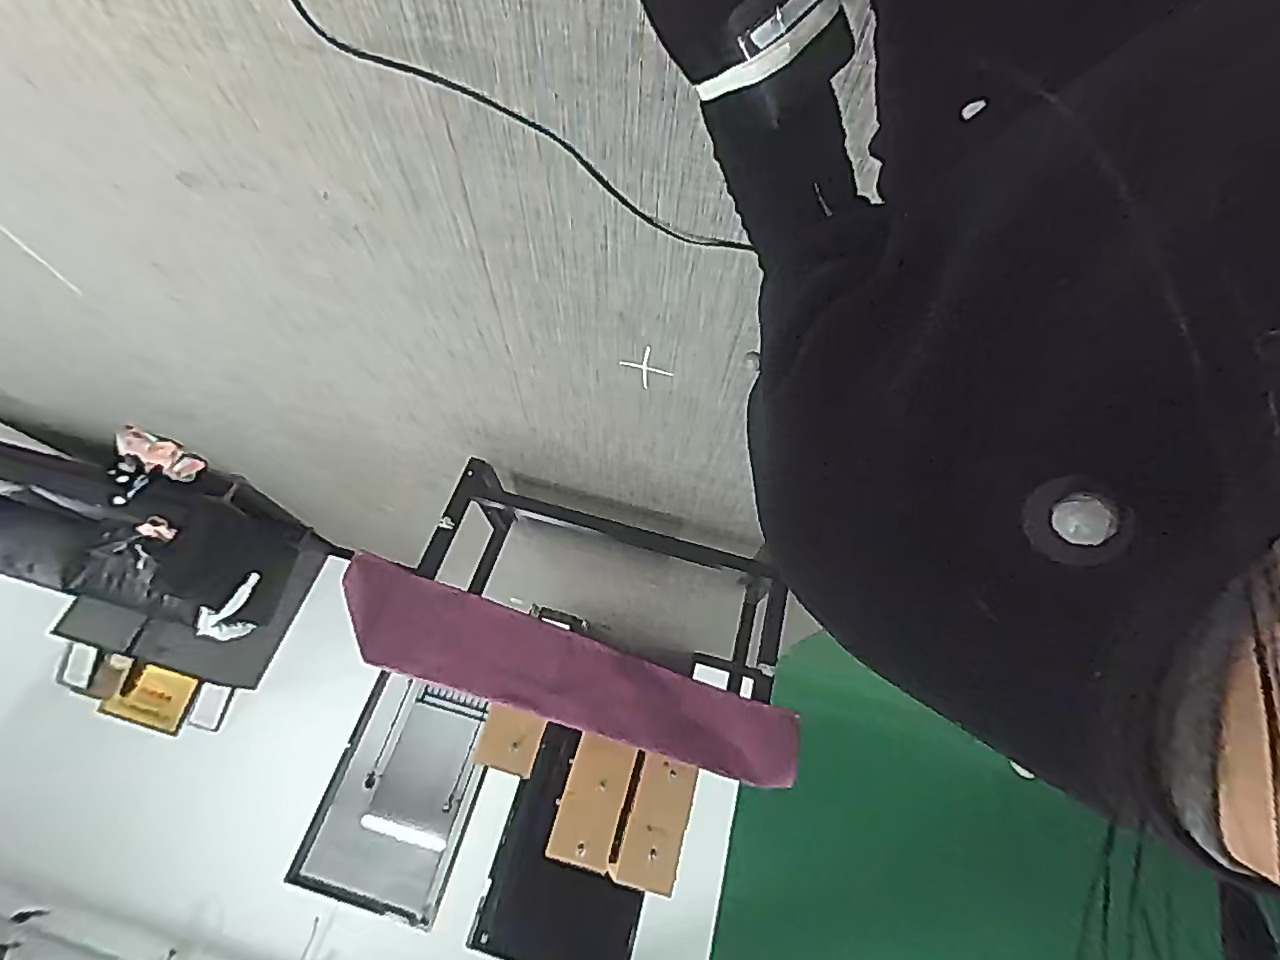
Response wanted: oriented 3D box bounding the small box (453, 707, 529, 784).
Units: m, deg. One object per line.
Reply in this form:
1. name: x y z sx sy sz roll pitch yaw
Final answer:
1. small box: -0.441 0.794 1.627 0.179 0.176 0.168 19 153 -3
